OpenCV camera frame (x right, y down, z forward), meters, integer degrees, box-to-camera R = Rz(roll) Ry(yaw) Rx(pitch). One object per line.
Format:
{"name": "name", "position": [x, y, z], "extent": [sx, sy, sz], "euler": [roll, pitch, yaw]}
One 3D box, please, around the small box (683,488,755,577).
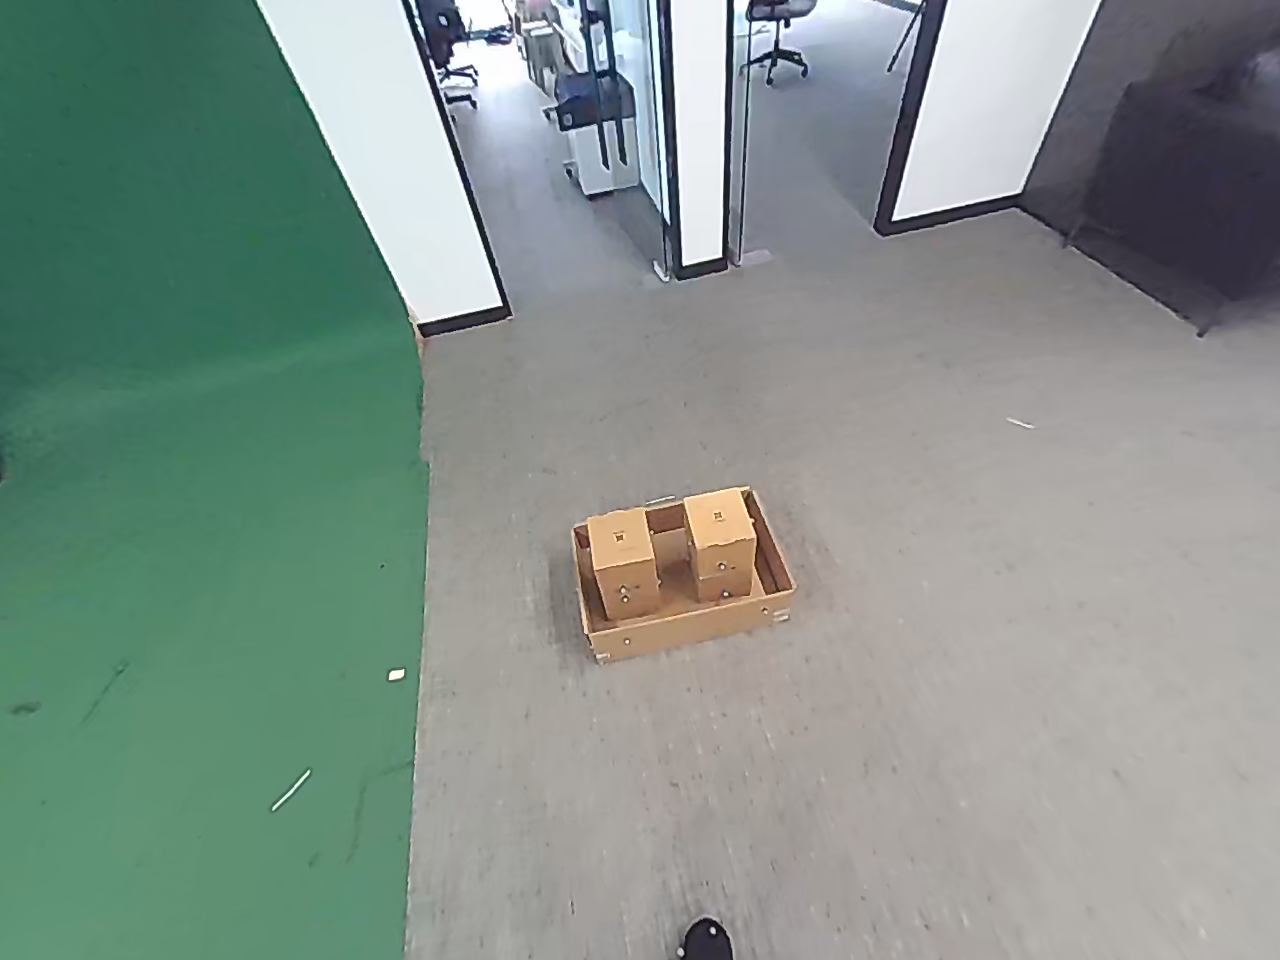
{"name": "small box", "position": [0.217, 0.151, 1.539], "extent": [0.168, 0.176, 0.179], "euler": [-11, 51, -2]}

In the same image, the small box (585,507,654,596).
{"name": "small box", "position": [-0.057, 0.203, 1.524], "extent": [0.168, 0.176, 0.179], "euler": [-10, 51, -2]}

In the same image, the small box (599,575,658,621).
{"name": "small box", "position": [-0.042, 0.305, 1.652], "extent": [0.168, 0.176, 0.179], "euler": [-11, 49, -2]}
